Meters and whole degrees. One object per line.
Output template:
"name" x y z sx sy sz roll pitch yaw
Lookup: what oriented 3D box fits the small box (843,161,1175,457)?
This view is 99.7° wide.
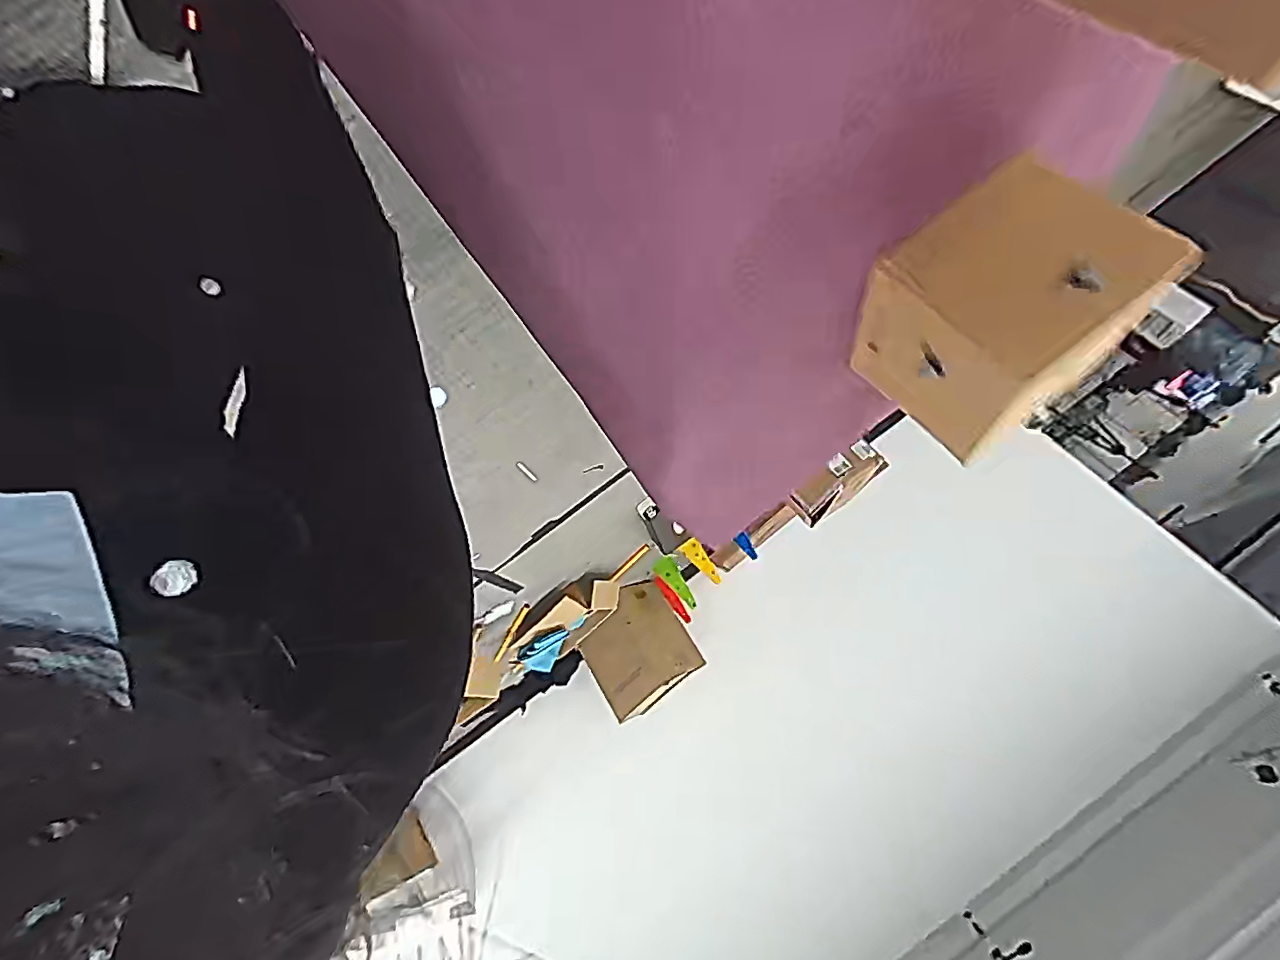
"small box" 0.326 -0.160 0.527 0.179 0.176 0.168 -38 155 -3
